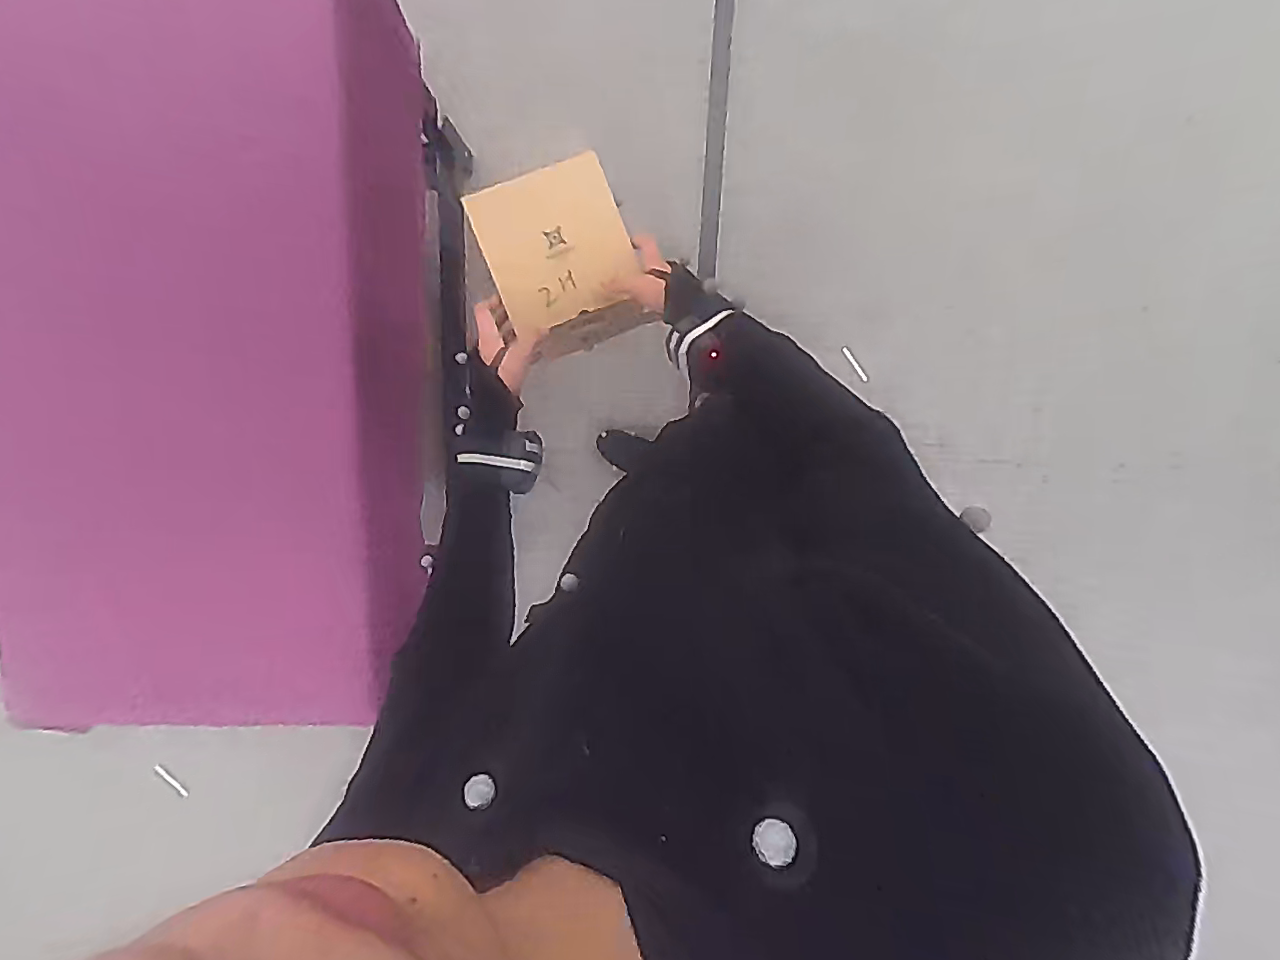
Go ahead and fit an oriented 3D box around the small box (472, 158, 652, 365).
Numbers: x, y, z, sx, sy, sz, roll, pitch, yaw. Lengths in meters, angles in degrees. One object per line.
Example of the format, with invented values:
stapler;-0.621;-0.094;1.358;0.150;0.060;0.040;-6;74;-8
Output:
small box;-0.098;-0.269;0.706;0.168;0.176;0.179;-21;93;-4
